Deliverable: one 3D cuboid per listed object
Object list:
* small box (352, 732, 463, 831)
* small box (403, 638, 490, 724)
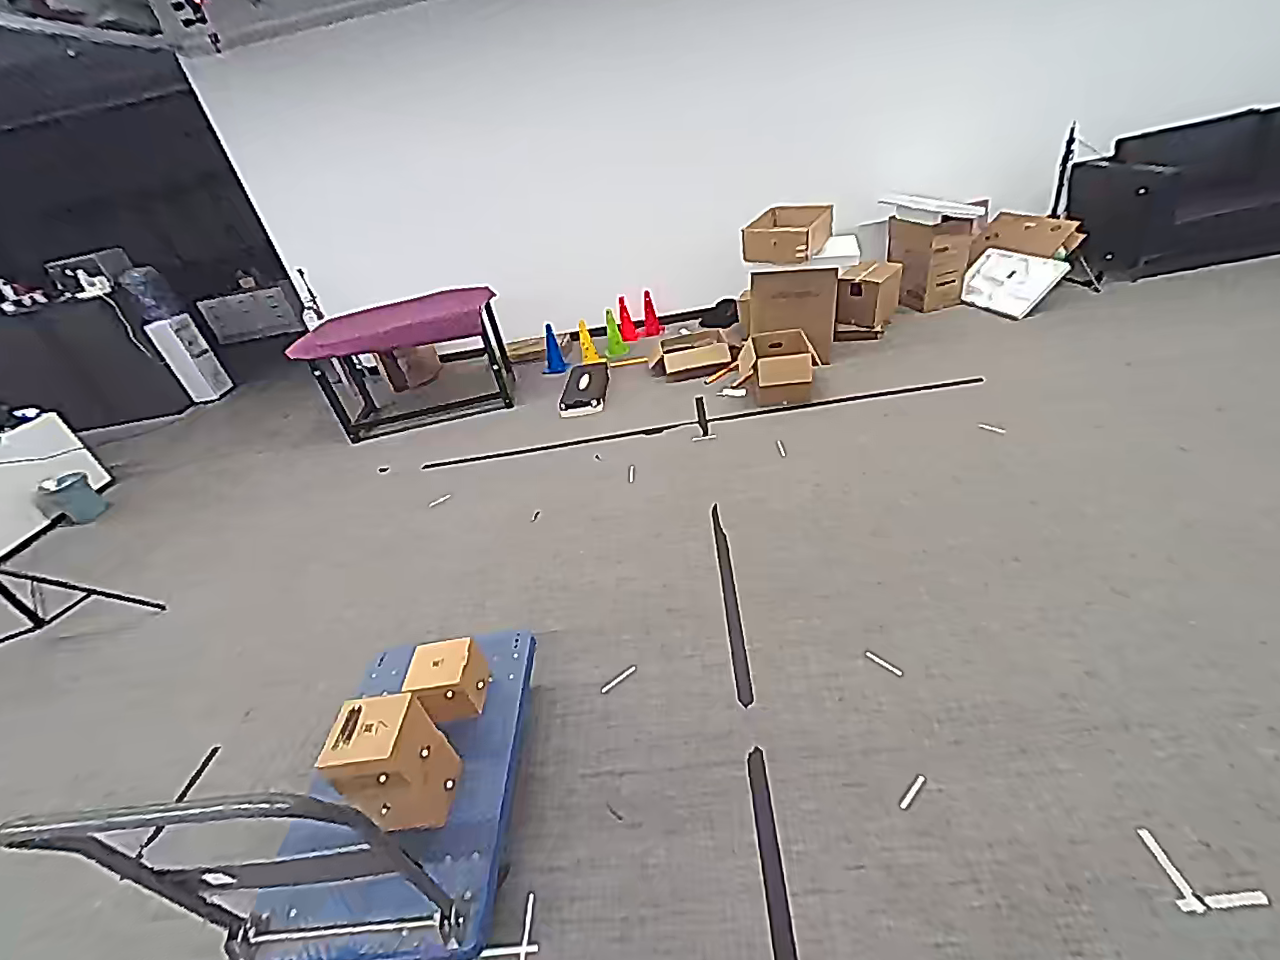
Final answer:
[{"bbox_3d":[-0.581,0.769,1.377,0.179,0.176,0.168,-7,34,7],"label":"small box"},{"bbox_3d":[-0.573,0.607,1.623,0.179,0.176,0.168,-10,33,2],"label":"small box"}]
